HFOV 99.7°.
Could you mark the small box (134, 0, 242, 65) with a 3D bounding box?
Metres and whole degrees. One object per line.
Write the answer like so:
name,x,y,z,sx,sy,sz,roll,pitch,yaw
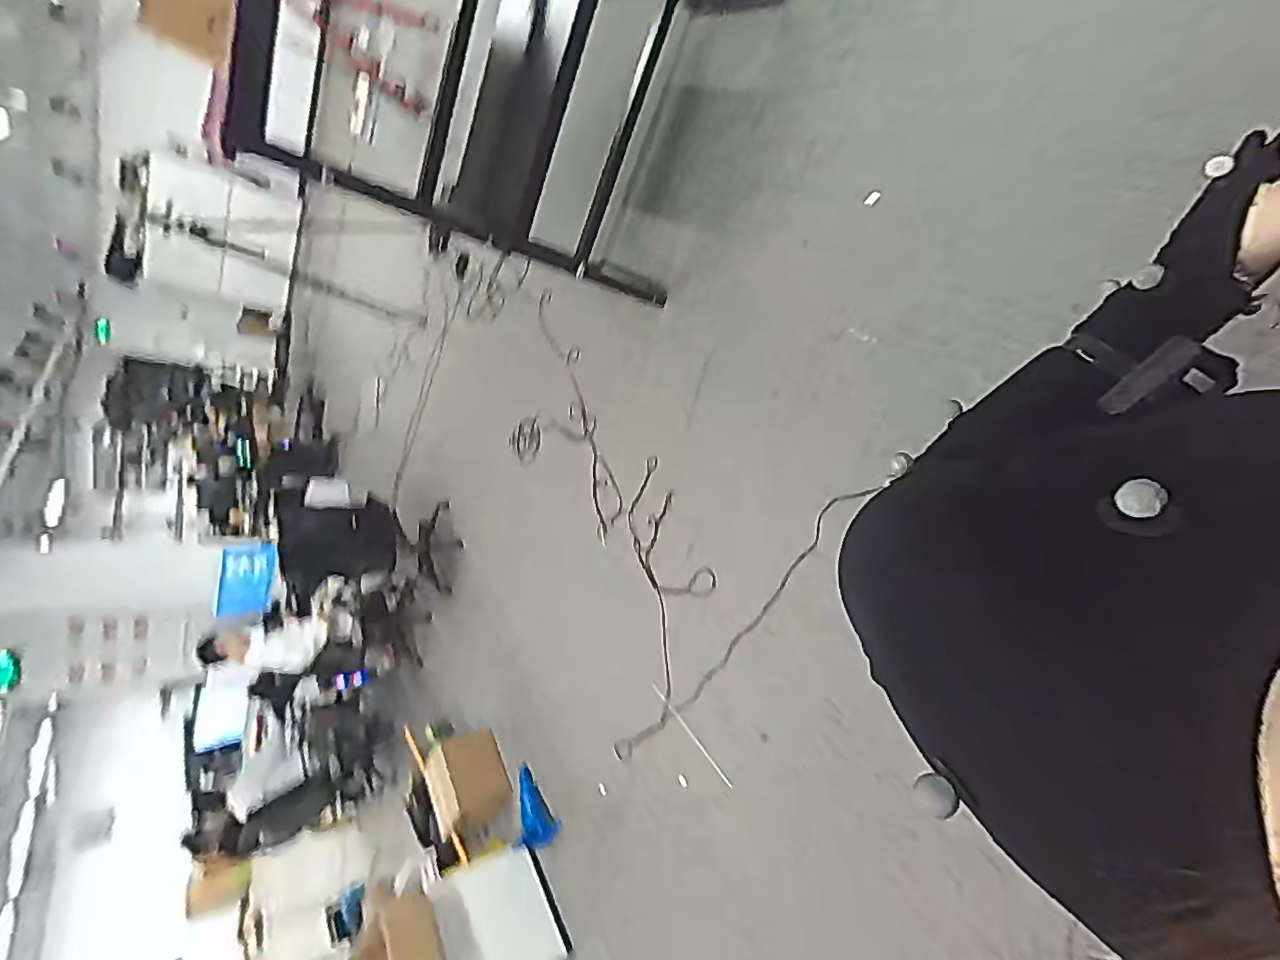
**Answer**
small box,-1.025,-1.084,1.232,0.179,0.176,0.168,38,114,44
